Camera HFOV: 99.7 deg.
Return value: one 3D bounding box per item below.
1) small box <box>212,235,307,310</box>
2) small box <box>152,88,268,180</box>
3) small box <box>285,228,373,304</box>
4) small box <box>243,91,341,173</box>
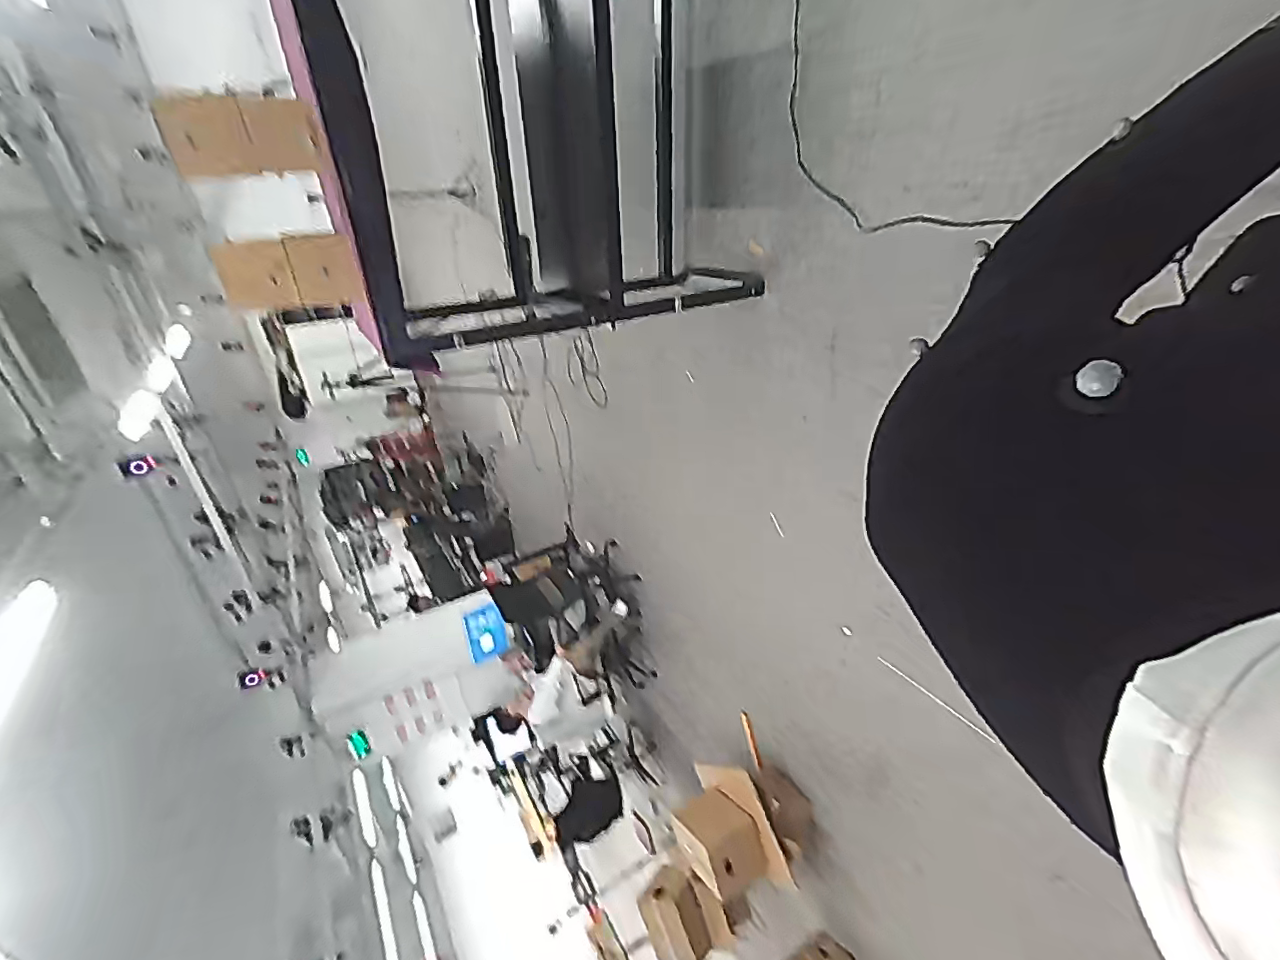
[{"bbox_3d":[-1.018,-0.565,1.460,0.179,0.176,0.168,38,137,49],"label":"small box"},{"bbox_3d":[-1.017,-0.829,1.300,0.168,0.176,0.179,39,140,48],"label":"small box"},{"bbox_3d":[-0.874,-0.609,1.523,0.168,0.176,0.179,38,138,49],"label":"small box"},{"bbox_3d":[-0.878,-0.878,1.374,0.179,0.176,0.168,40,140,47],"label":"small box"}]
